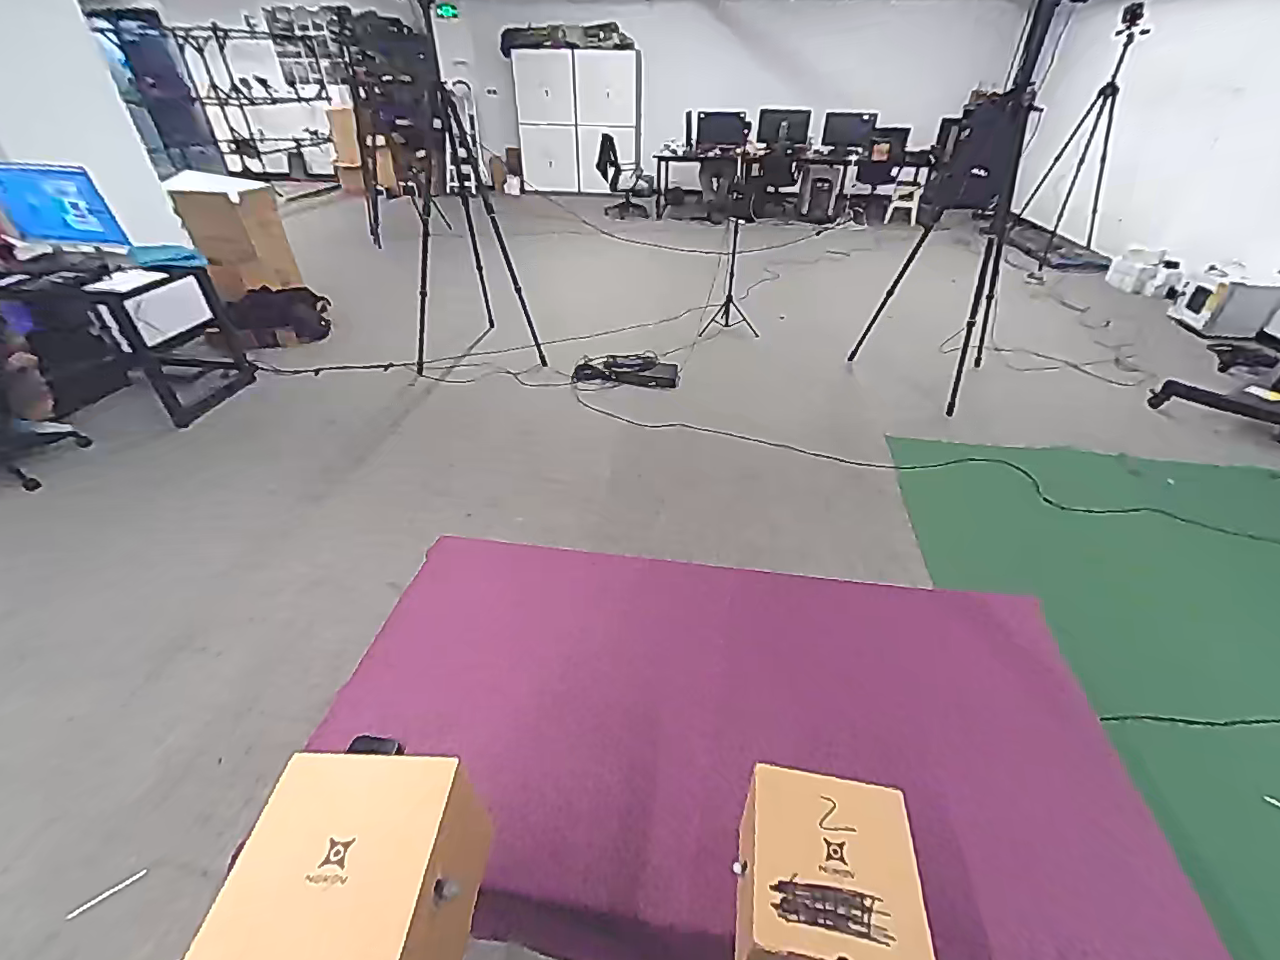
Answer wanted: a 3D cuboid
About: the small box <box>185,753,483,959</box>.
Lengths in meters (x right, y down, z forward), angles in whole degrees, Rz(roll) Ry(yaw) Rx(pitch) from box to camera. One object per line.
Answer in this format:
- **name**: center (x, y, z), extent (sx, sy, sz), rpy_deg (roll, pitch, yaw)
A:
- **small box**: center (-0.255, 0.384, 0.502), extent (0.168, 0.176, 0.179), rpy_deg (1, 39, 2)
